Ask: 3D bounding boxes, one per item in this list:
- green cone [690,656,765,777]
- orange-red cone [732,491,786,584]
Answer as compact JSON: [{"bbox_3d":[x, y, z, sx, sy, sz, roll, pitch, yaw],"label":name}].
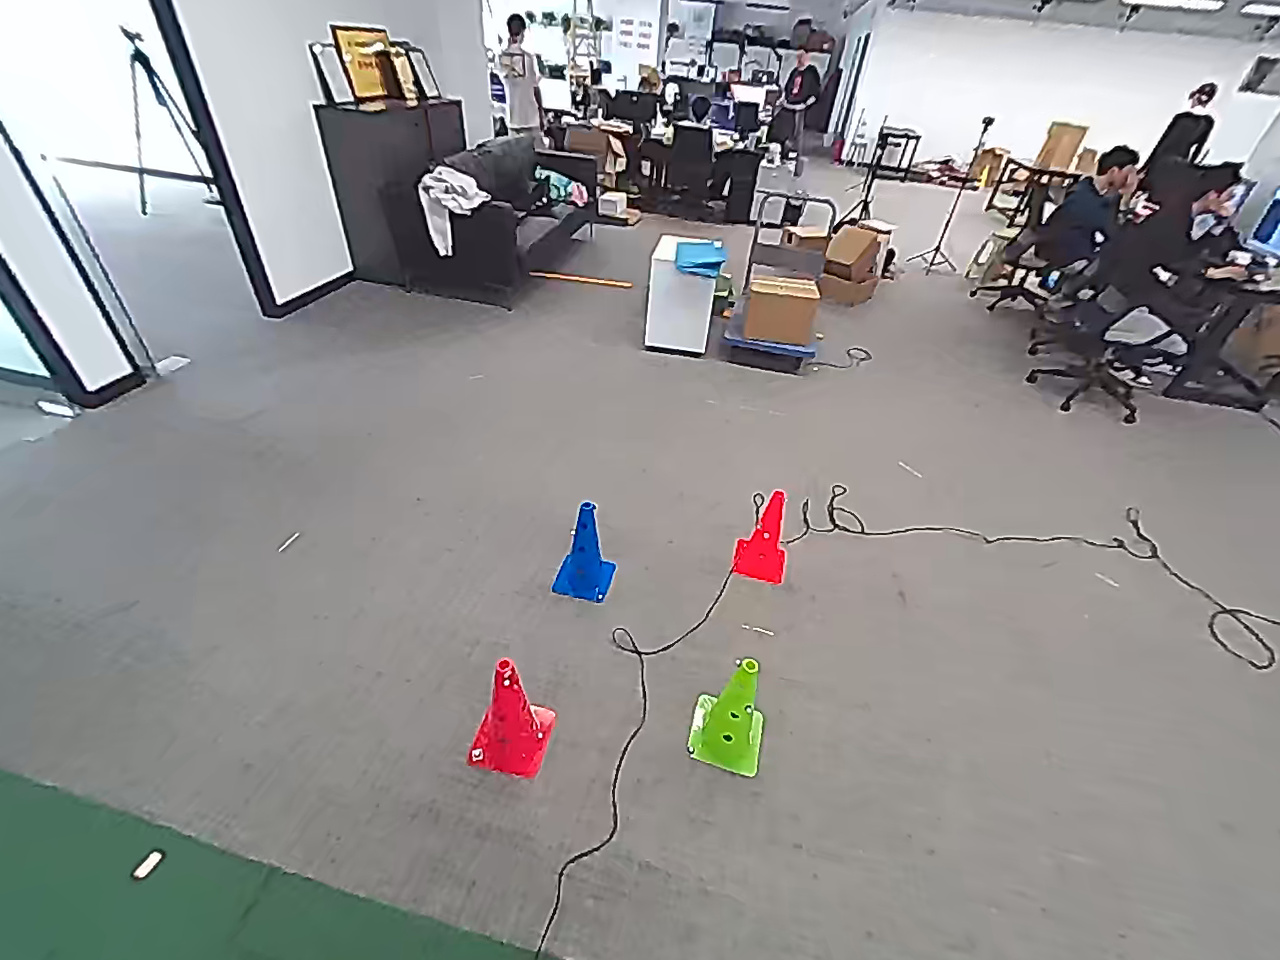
[{"bbox_3d":[0.273,0.606,1.468,0.200,0.368,0.202,13,38,10],"label":"green cone"},{"bbox_3d":[0.483,0.190,2.031,0.198,0.360,0.199,14,40,12],"label":"orange-red cone"}]
